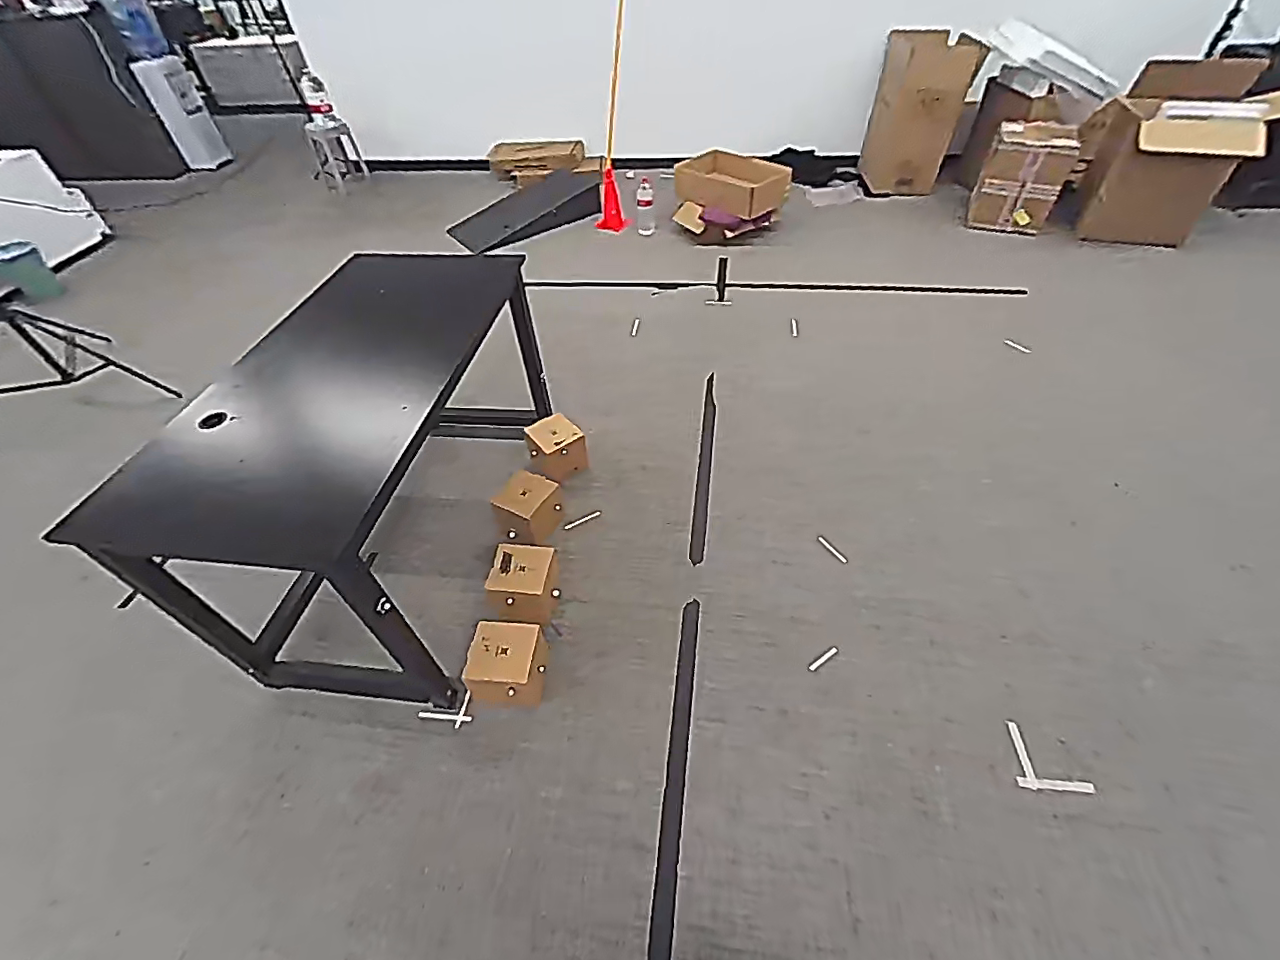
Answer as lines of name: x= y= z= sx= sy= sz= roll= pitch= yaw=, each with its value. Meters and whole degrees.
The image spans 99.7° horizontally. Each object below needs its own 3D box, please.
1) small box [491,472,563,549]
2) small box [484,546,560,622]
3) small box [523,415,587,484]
small box: x=-0.384 y=0.107 z=1.879 sx=0.168 sy=0.176 sz=0.179 roll=19 pitch=52 yaw=21
small box: x=-0.357 y=0.325 z=1.673 sx=0.179 sy=0.176 sz=0.168 roll=4 pitch=48 yaw=5
small box: x=-0.323 y=-0.115 z=2.077 sx=0.168 sy=0.176 sz=0.179 roll=-32 pitch=53 yaw=-23
